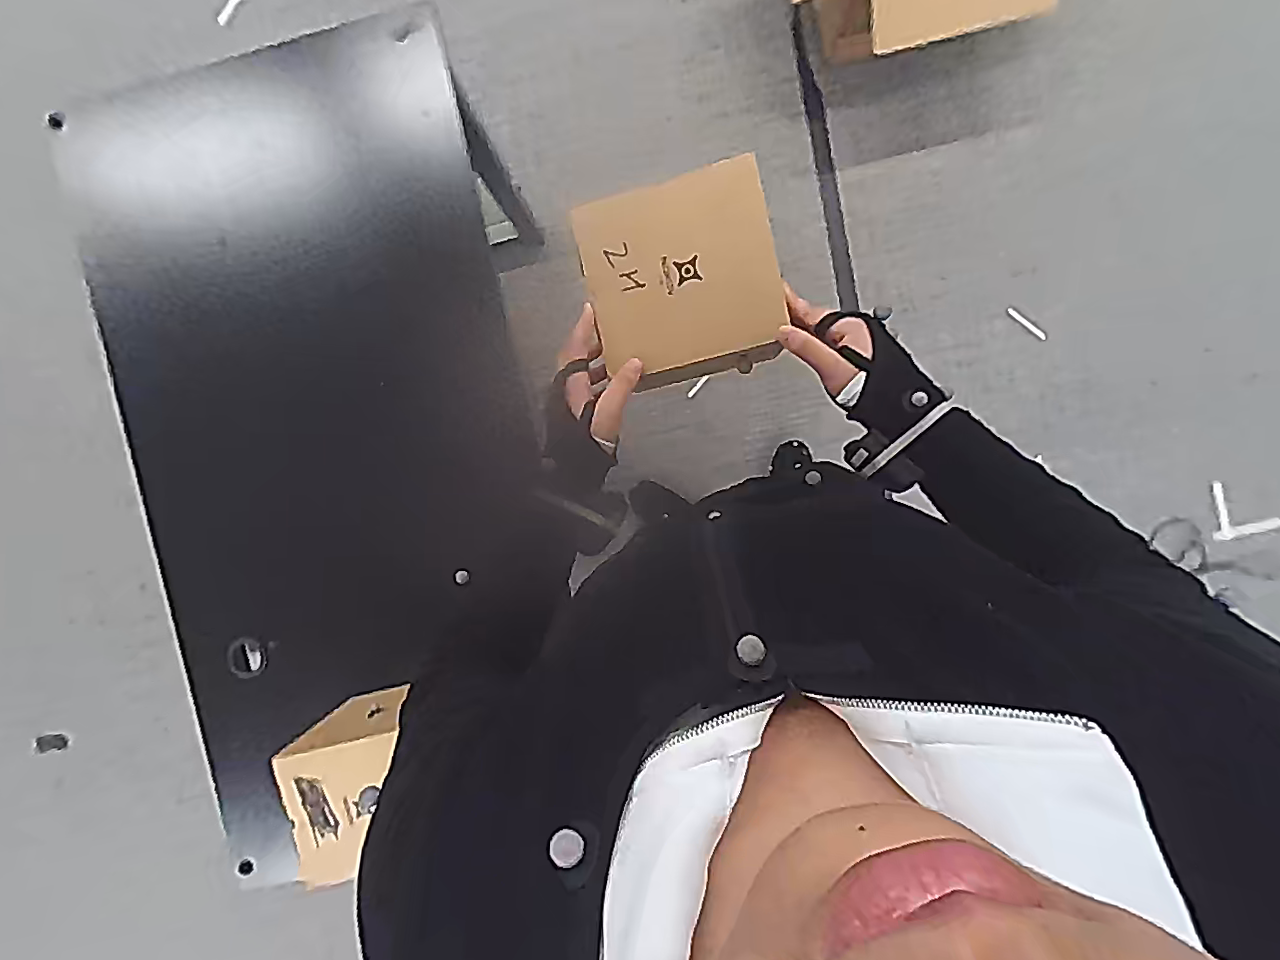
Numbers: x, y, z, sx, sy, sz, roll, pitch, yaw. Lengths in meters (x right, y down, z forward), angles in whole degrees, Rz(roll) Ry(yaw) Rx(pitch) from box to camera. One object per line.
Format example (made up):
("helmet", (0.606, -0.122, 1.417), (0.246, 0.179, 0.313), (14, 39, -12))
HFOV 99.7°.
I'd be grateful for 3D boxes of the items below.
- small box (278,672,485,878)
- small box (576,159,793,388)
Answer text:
("small box", (-0.337, 0.386, 0.737), (0.179, 0.176, 0.168), (-15, 92, 3))
("small box", (0.051, -0.198, 0.574), (0.179, 0.176, 0.168), (-12, 94, 10))
